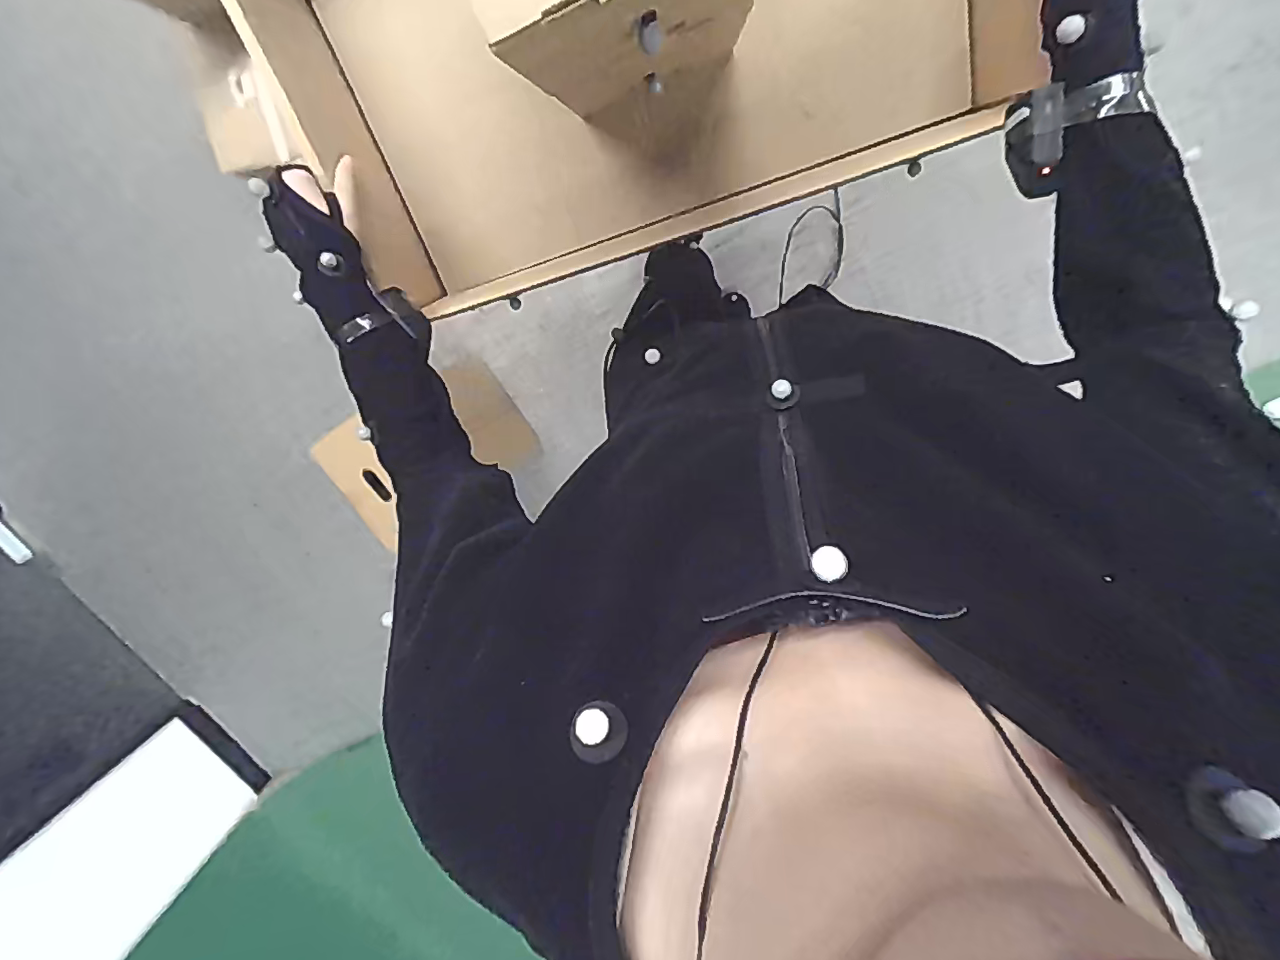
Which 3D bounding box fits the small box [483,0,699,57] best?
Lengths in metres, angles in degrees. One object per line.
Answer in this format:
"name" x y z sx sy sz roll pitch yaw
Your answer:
"small box" -0.023 -0.359 0.284 0.168 0.176 0.179 -17 117 12
